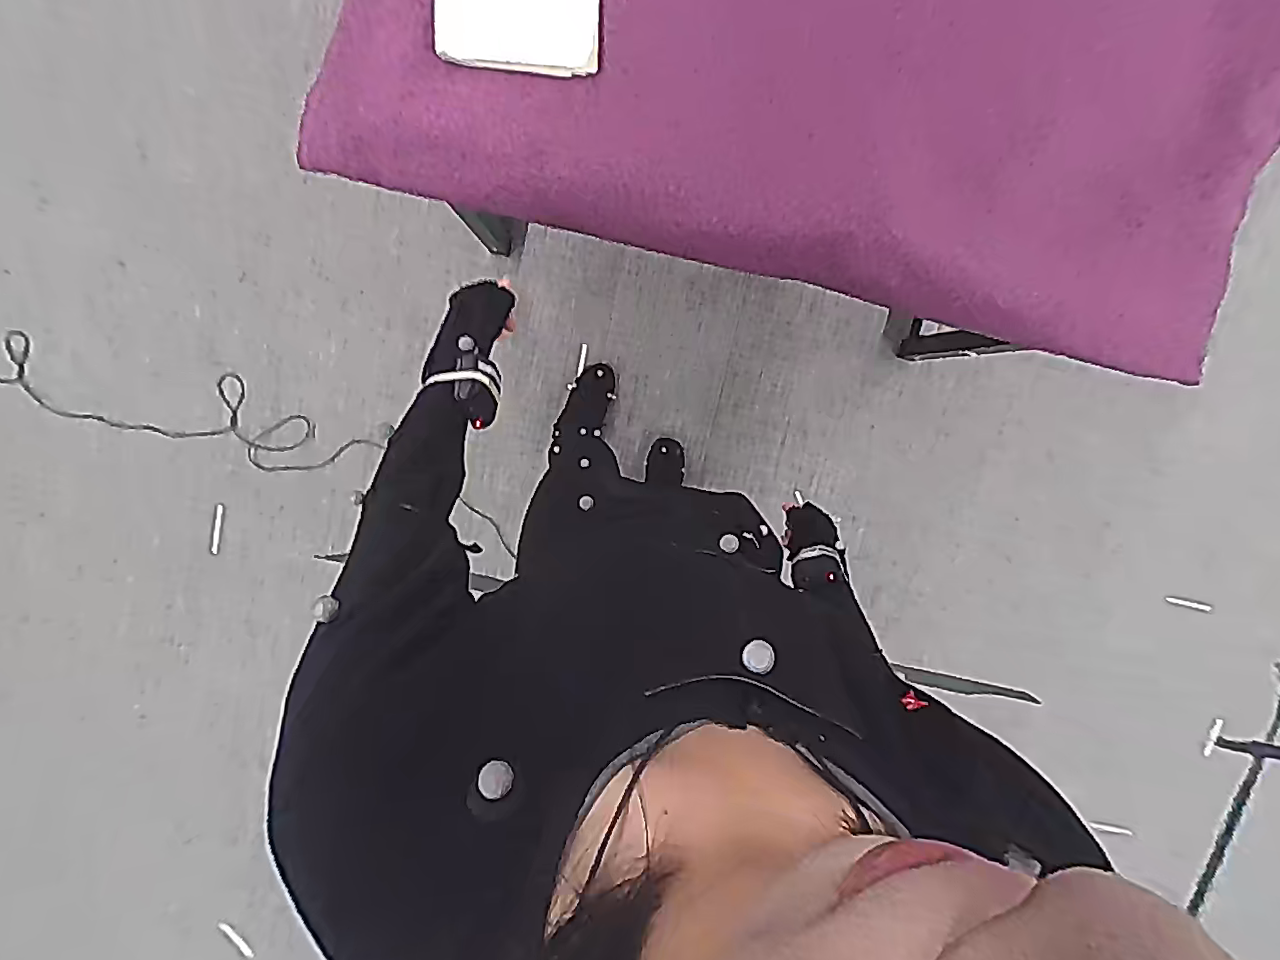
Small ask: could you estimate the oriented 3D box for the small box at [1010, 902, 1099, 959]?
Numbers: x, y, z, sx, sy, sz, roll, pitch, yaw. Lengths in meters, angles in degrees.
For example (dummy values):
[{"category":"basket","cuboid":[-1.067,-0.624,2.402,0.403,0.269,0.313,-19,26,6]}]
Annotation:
[{"category":"small box","cuboid":[1.332,1.523,1.744,0.168,0.176,0.179,-10,98,-2]}]
